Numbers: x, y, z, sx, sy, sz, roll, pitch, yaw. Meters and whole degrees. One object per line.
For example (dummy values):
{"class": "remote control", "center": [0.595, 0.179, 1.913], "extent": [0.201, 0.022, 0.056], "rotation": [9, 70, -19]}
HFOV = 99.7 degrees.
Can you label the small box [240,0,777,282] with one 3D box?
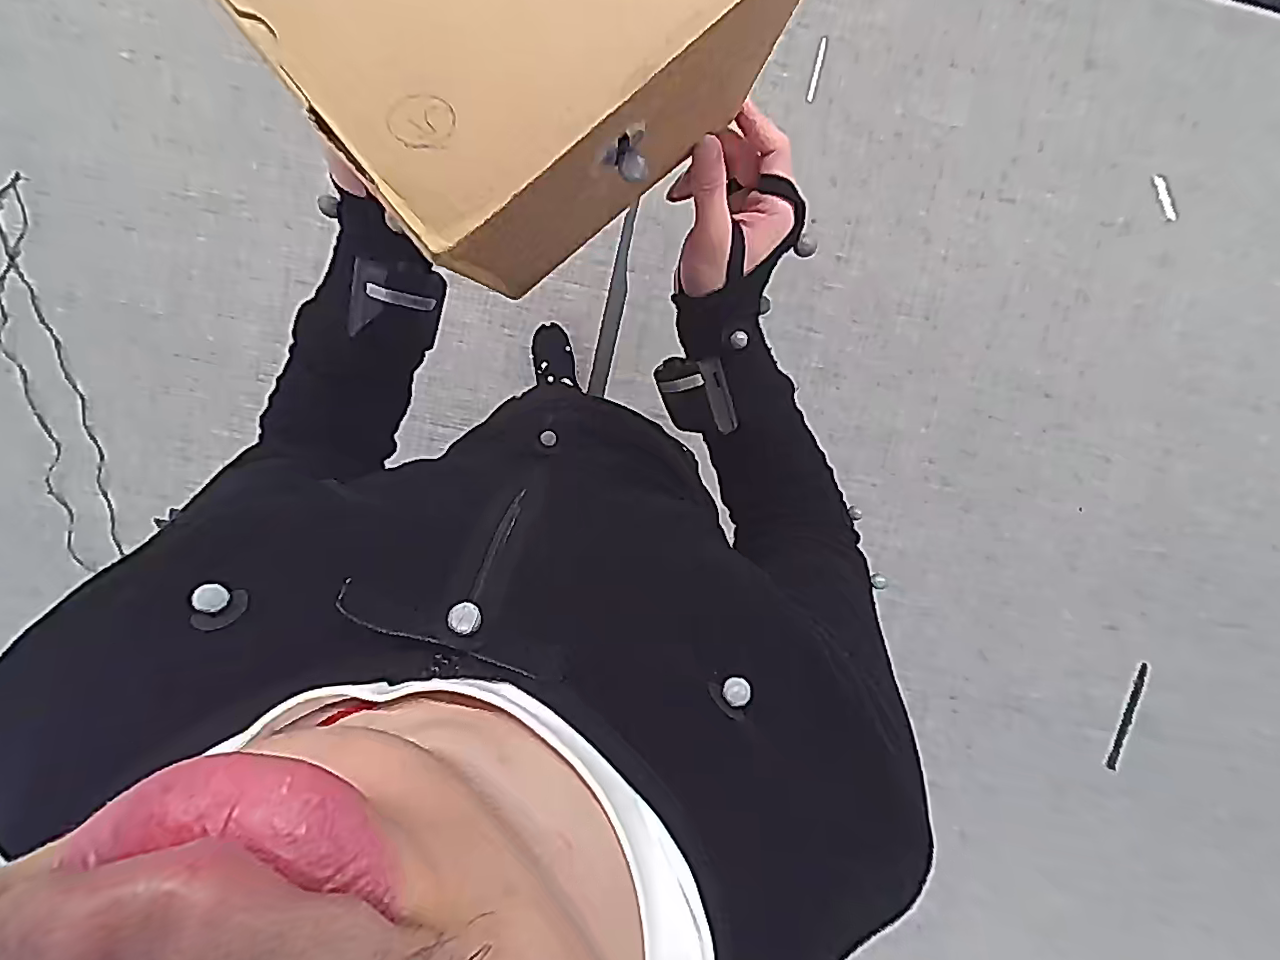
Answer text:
{"class": "small box", "center": [-0.055, -0.214, 0.247], "extent": [0.179, 0.176, 0.168], "rotation": [-38, 104, 5]}
